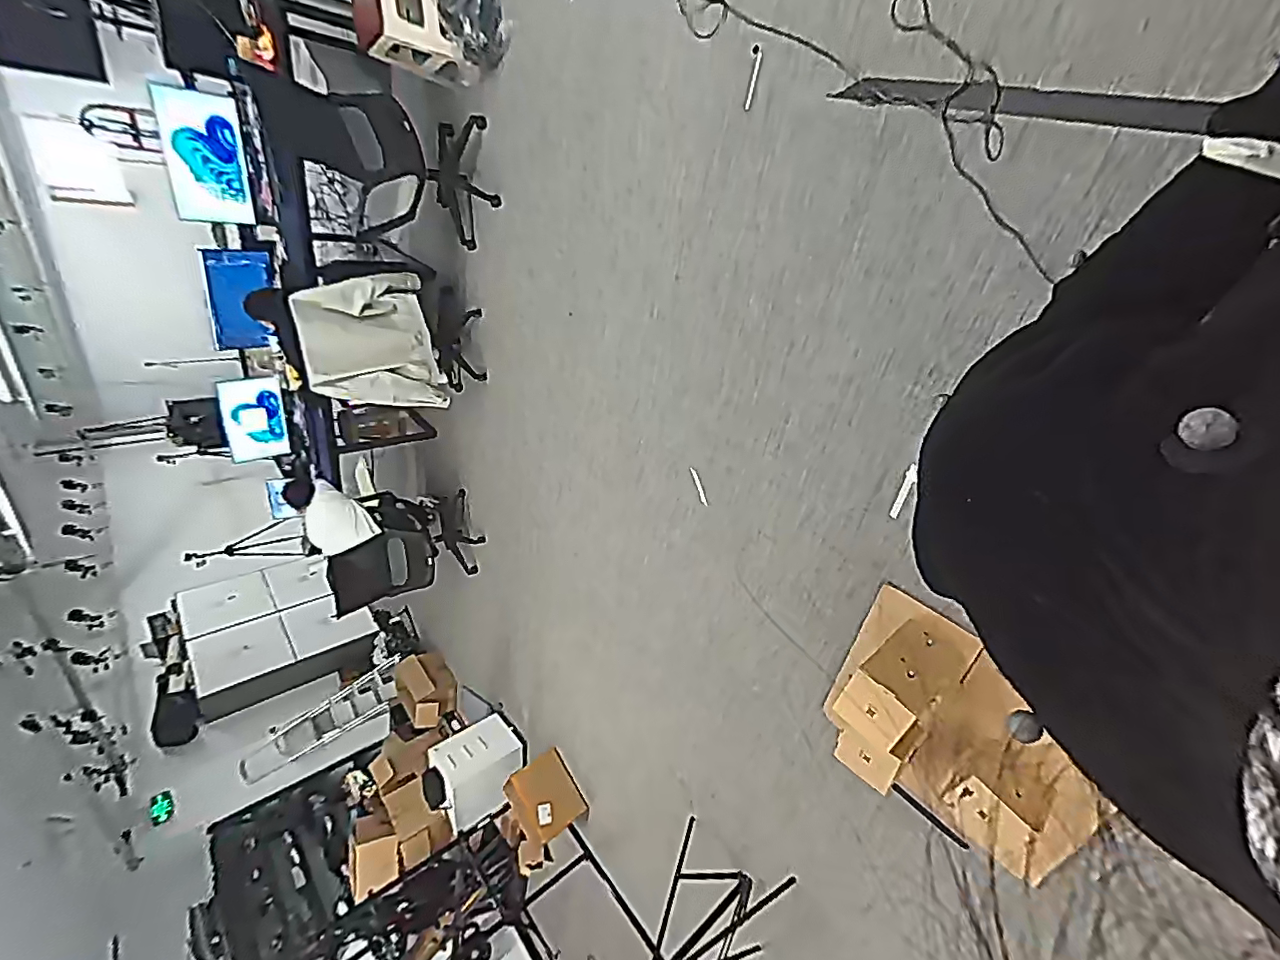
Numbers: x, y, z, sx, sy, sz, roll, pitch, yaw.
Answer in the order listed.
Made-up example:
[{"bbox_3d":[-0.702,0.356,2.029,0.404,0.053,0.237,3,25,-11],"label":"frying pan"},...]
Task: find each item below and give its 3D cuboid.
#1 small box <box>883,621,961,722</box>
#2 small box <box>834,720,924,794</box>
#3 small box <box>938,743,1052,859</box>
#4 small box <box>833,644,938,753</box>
[{"bbox_3d":[0.773,0.538,1.534,0.168,0.176,0.179,36,127,36],"label":"small box"},{"bbox_3d":[0.738,0.812,1.672,0.179,0.176,0.168,31,126,40],"label":"small box"},{"bbox_3d":[0.946,0.846,1.436,0.179,0.176,0.168,43,131,30],"label":"small box"},{"bbox_3d":[0.652,0.572,1.431,0.168,0.176,0.179,39,129,34],"label":"small box"}]
